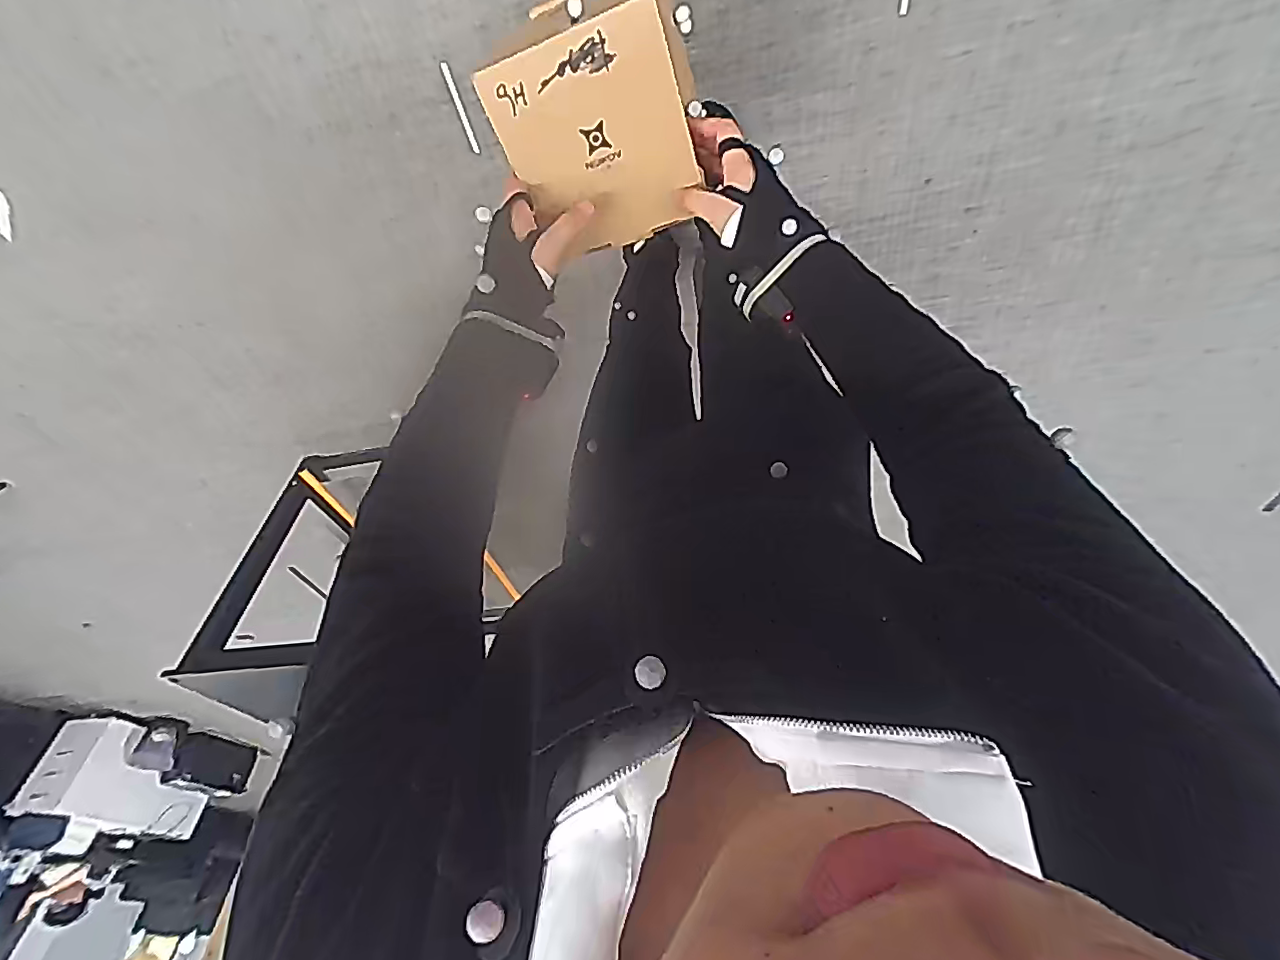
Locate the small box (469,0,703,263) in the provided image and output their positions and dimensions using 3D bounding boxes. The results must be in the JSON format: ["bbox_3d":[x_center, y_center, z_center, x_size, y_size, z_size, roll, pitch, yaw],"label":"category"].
[{"bbox_3d":[-0.037,-0.357,0.540,0.168,0.176,0.179,-11,138,16],"label":"small box"}]
